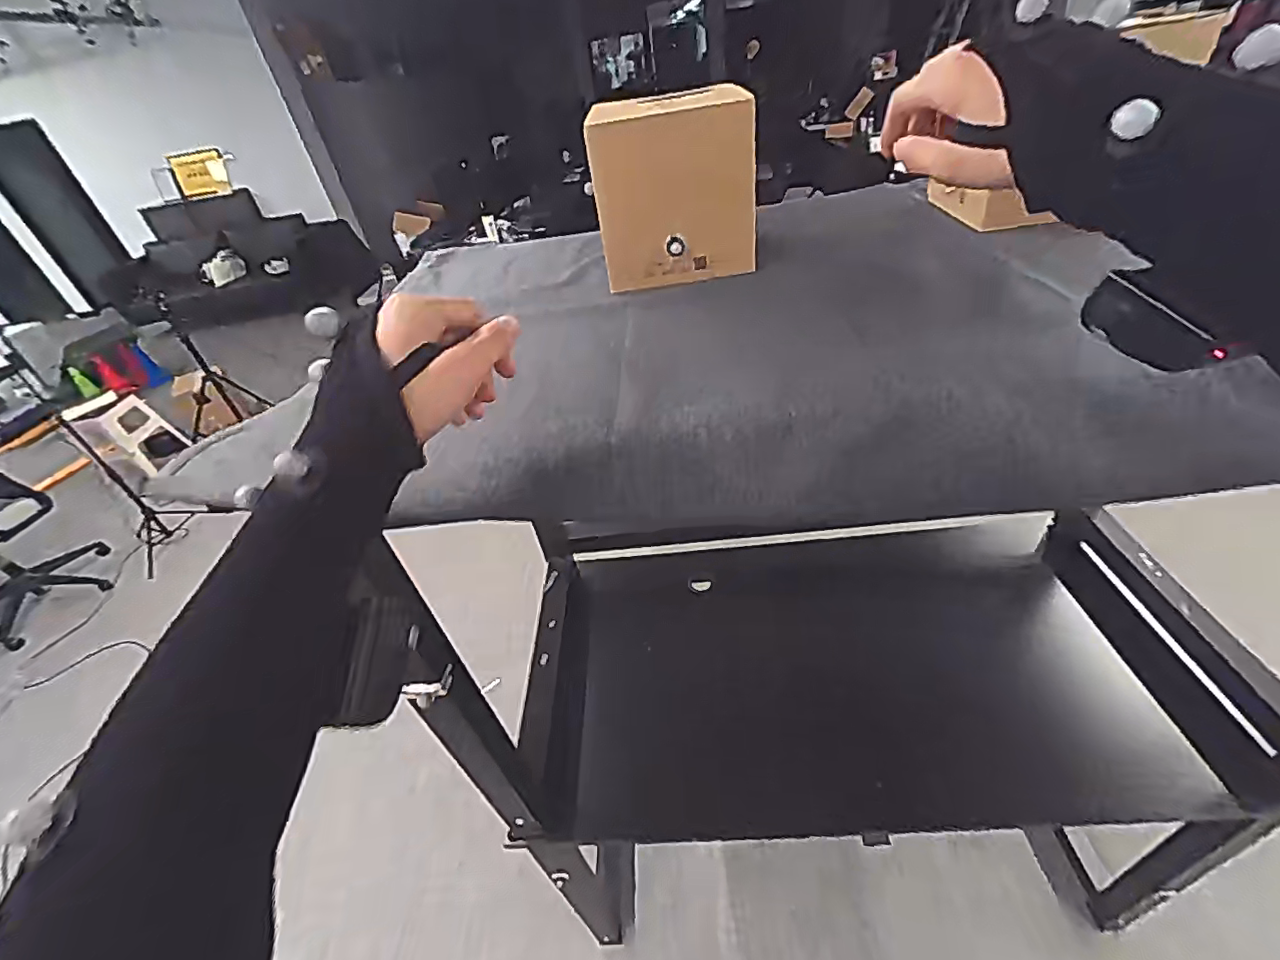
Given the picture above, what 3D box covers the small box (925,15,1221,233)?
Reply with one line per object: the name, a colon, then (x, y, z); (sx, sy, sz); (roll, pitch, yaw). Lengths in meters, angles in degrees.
small box: (0.448, -0.391, 0.602); (0.179, 0.176, 0.168); (-5, 37, 7)
